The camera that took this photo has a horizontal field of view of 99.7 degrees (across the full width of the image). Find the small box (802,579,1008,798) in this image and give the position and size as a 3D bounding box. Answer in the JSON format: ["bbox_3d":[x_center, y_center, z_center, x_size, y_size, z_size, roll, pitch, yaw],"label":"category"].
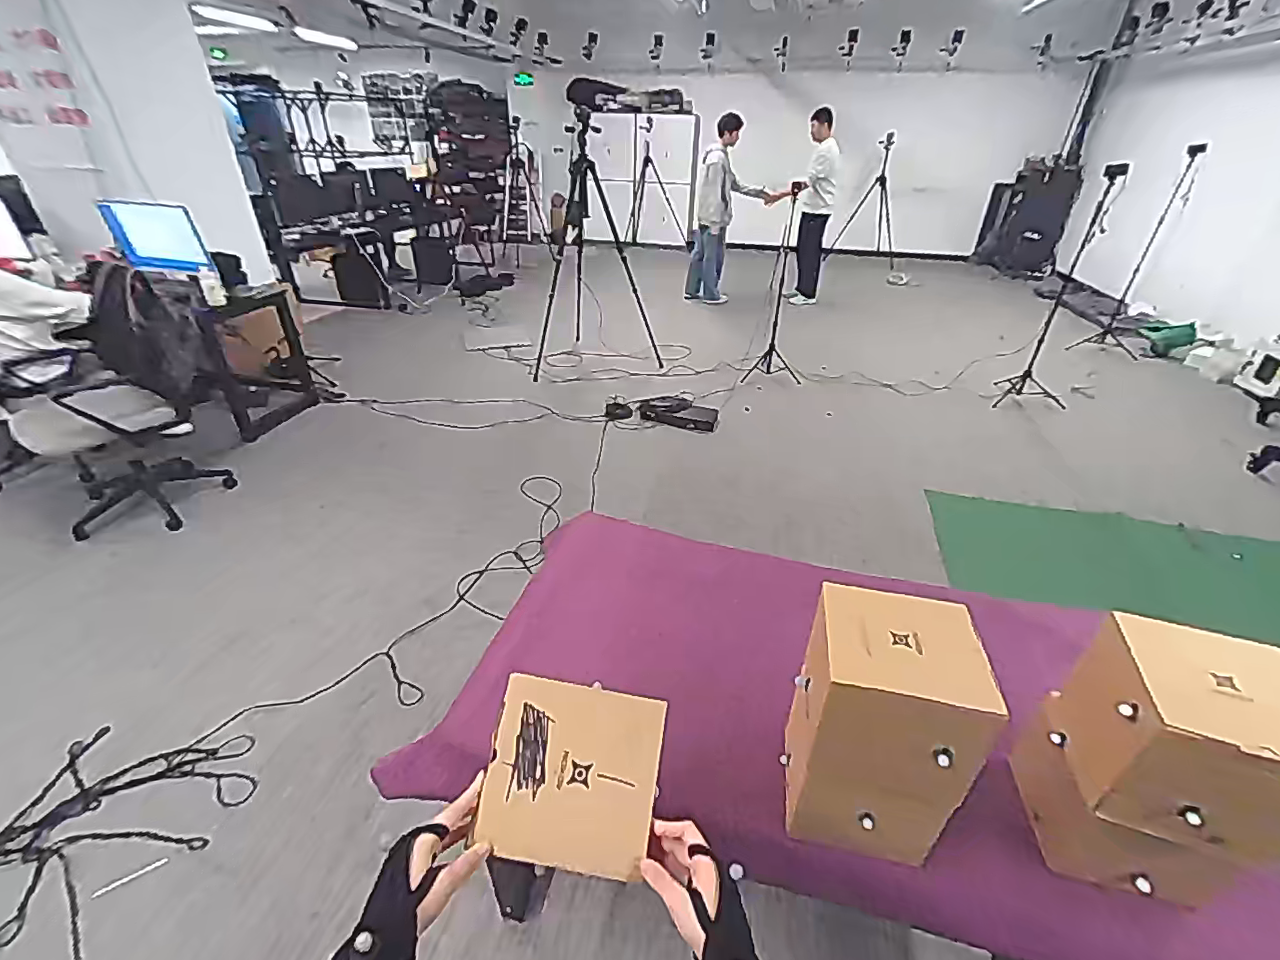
[{"bbox_3d":[0.301,0.250,0.656,0.179,0.176,0.168,7,30,13],"label":"small box"}]

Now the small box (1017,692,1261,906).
[{"bbox_3d":[0.641,0.414,0.708,0.179,0.176,0.168,7,30,12],"label":"small box"}]

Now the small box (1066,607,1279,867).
[{"bbox_3d":[0.624,0.281,0.611,0.168,0.176,0.179,11,33,19],"label":"small box"}]
